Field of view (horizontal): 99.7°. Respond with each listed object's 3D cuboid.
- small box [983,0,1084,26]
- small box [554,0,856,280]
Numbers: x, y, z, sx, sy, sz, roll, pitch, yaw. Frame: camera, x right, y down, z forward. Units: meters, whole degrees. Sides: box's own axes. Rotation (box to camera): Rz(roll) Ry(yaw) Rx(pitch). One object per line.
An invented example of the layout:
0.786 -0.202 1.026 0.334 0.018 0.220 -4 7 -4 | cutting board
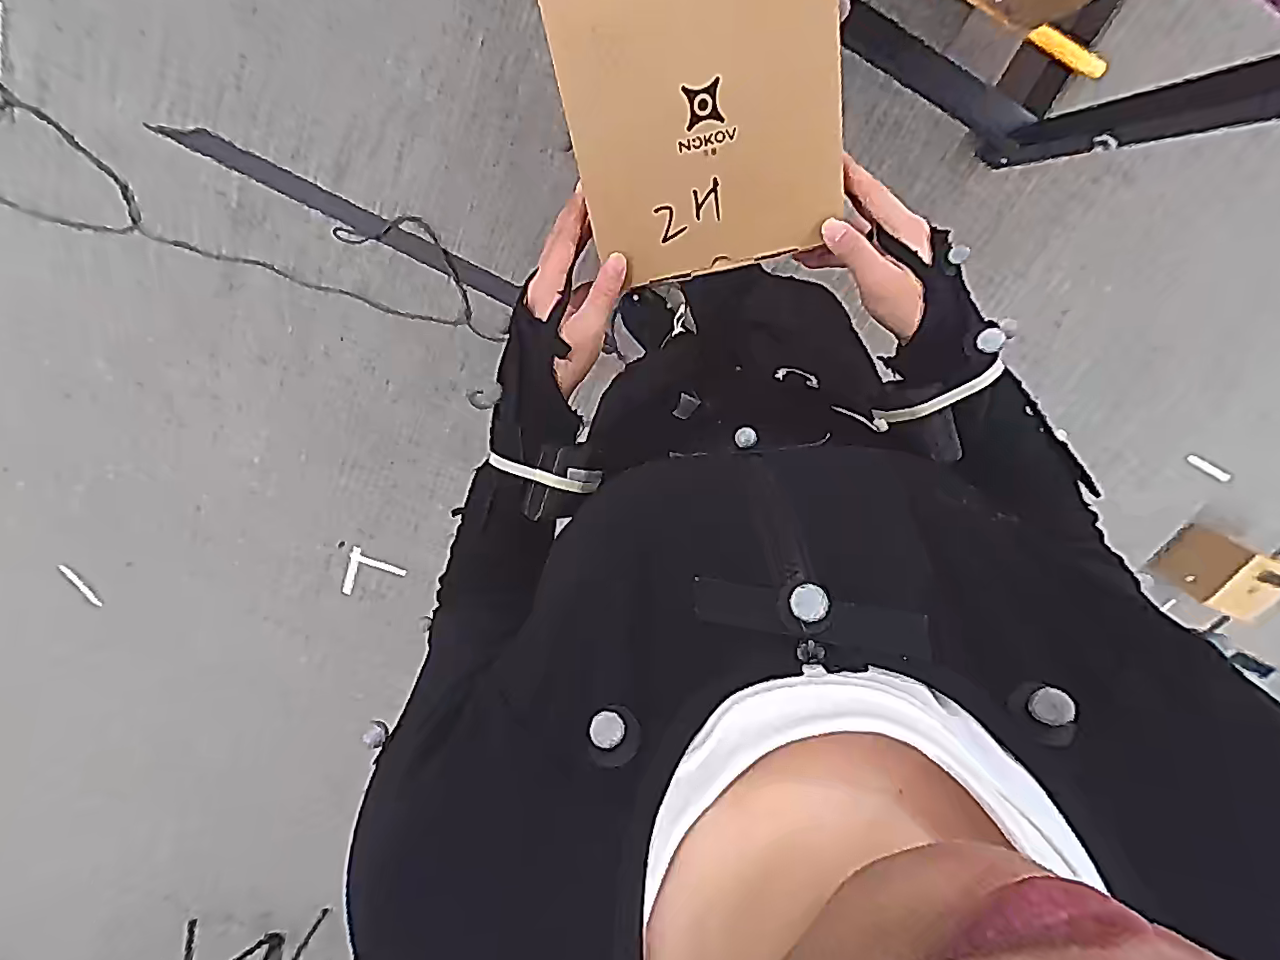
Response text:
0.638 -0.853 0.823 0.168 0.176 0.179 23 114 -10 | small box
0.045 -0.261 0.389 0.168 0.176 0.179 -9 119 7 | small box
